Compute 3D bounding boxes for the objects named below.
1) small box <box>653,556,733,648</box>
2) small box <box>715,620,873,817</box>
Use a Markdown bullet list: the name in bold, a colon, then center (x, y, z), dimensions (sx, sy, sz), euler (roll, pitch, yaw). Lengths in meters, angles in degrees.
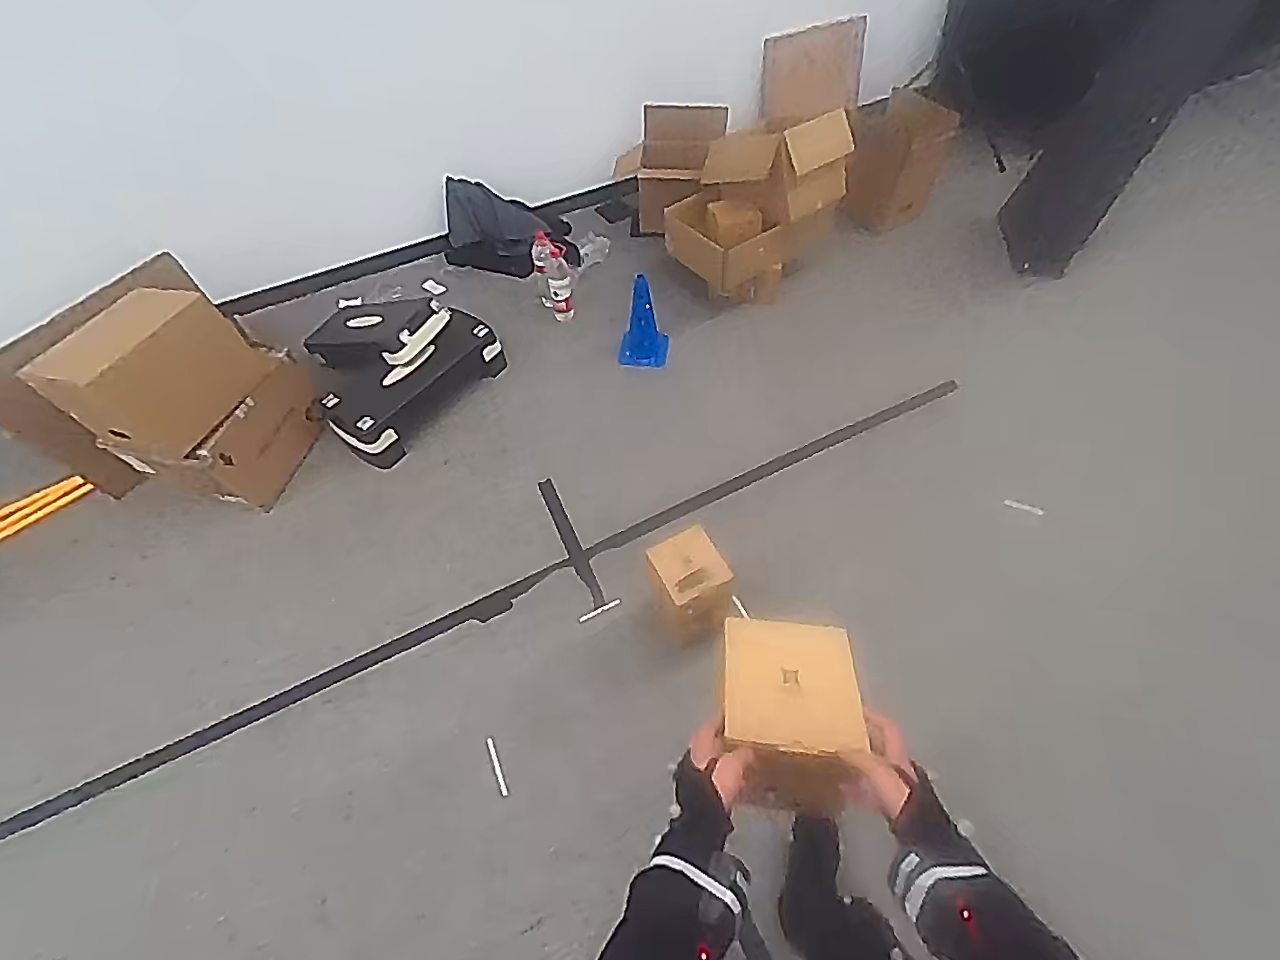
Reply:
- **small box**: center (0.149, 0.357, 1.571), dimensions (0.168, 0.176, 0.179), euler (-27, 59, -14)
- **small box**: center (0.190, 0.316, 0.724), dimensions (0.168, 0.176, 0.179), euler (4, 40, 5)
